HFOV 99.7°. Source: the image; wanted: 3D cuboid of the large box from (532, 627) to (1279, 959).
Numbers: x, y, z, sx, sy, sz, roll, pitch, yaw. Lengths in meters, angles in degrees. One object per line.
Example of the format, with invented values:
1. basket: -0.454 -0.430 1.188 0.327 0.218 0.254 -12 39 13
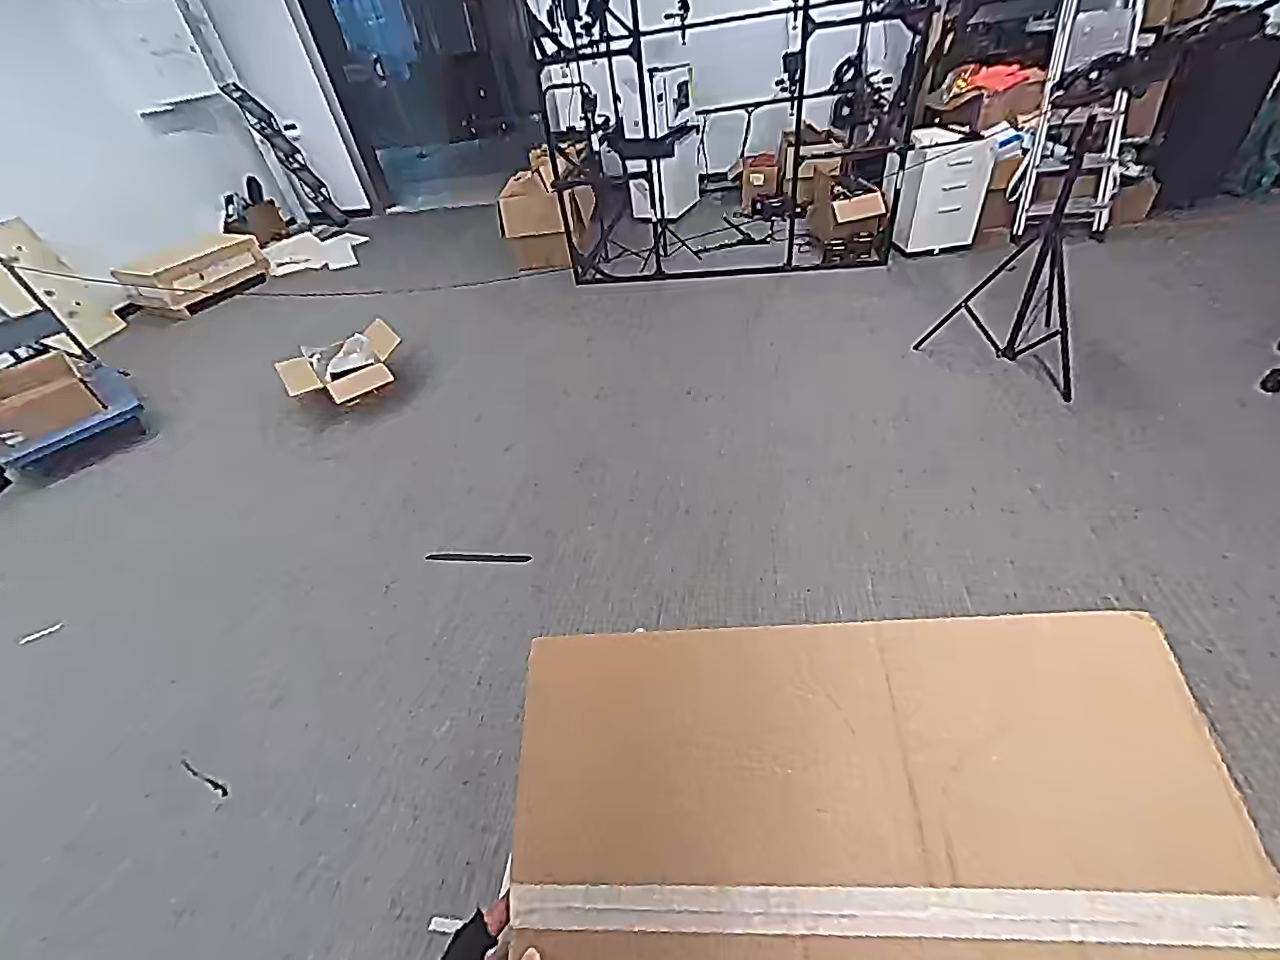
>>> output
1. large box: 0.153 0.320 0.432 0.408 0.320 0.320 -5 62 8
